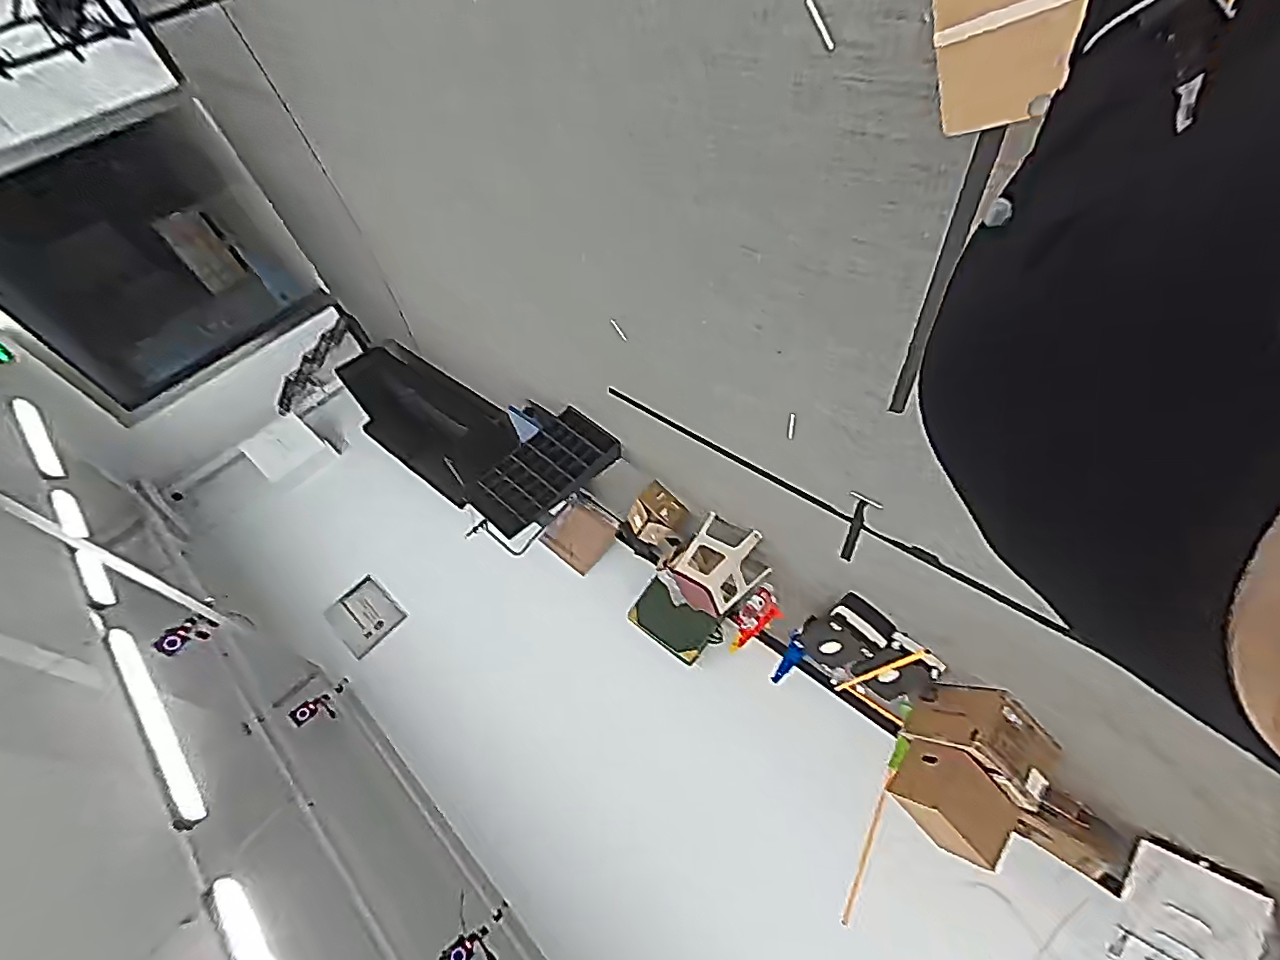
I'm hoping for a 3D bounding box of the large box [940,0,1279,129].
[{"bbox_3d":[0.727,-0.804,0.815,0.408,0.320,0.320,18,145,47],"label":"large box"}]
